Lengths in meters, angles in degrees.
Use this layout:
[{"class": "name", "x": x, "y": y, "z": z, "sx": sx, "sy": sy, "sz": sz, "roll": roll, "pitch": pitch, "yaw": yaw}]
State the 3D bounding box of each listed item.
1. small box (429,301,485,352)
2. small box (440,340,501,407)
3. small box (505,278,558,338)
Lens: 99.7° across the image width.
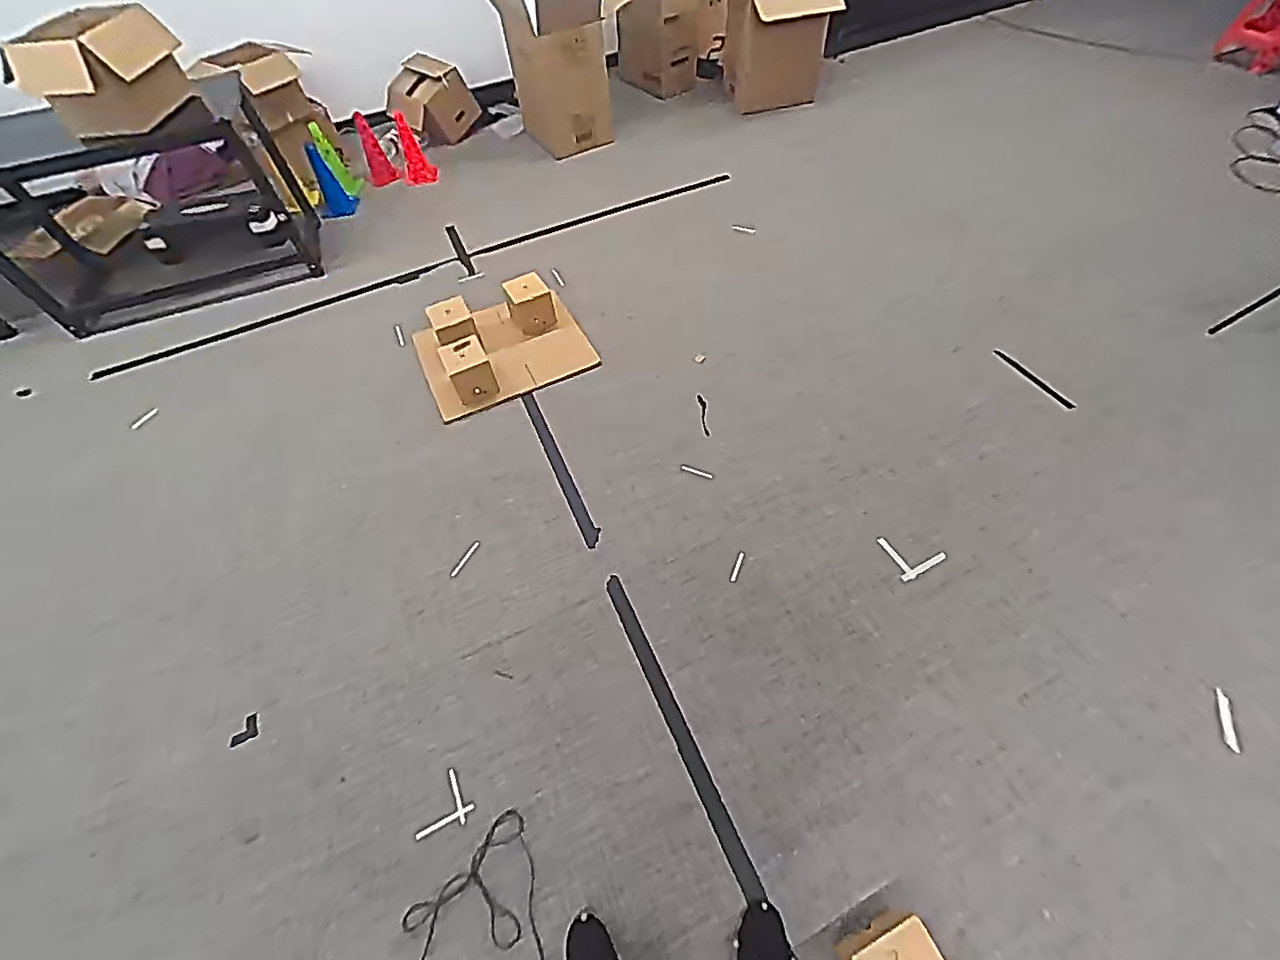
[{"class": "small box", "x": -0.798, "y": -0.644, "z": 2.362, "sx": 0.168, "sy": 0.176, "sz": 0.179, "roll": -25, "pitch": 57, "yaw": -12}, {"class": "small box", "x": -0.688, "y": -0.432, "z": 2.206, "sx": 0.168, "sy": 0.176, "sz": 0.179, "roll": -25, "pitch": 58, "yaw": -12}, {"class": "small box", "x": -0.489, "y": -0.774, "z": 2.438, "sx": 0.168, "sy": 0.176, "sz": 0.179, "roll": -27, "pitch": 57, "yaw": -14}]
